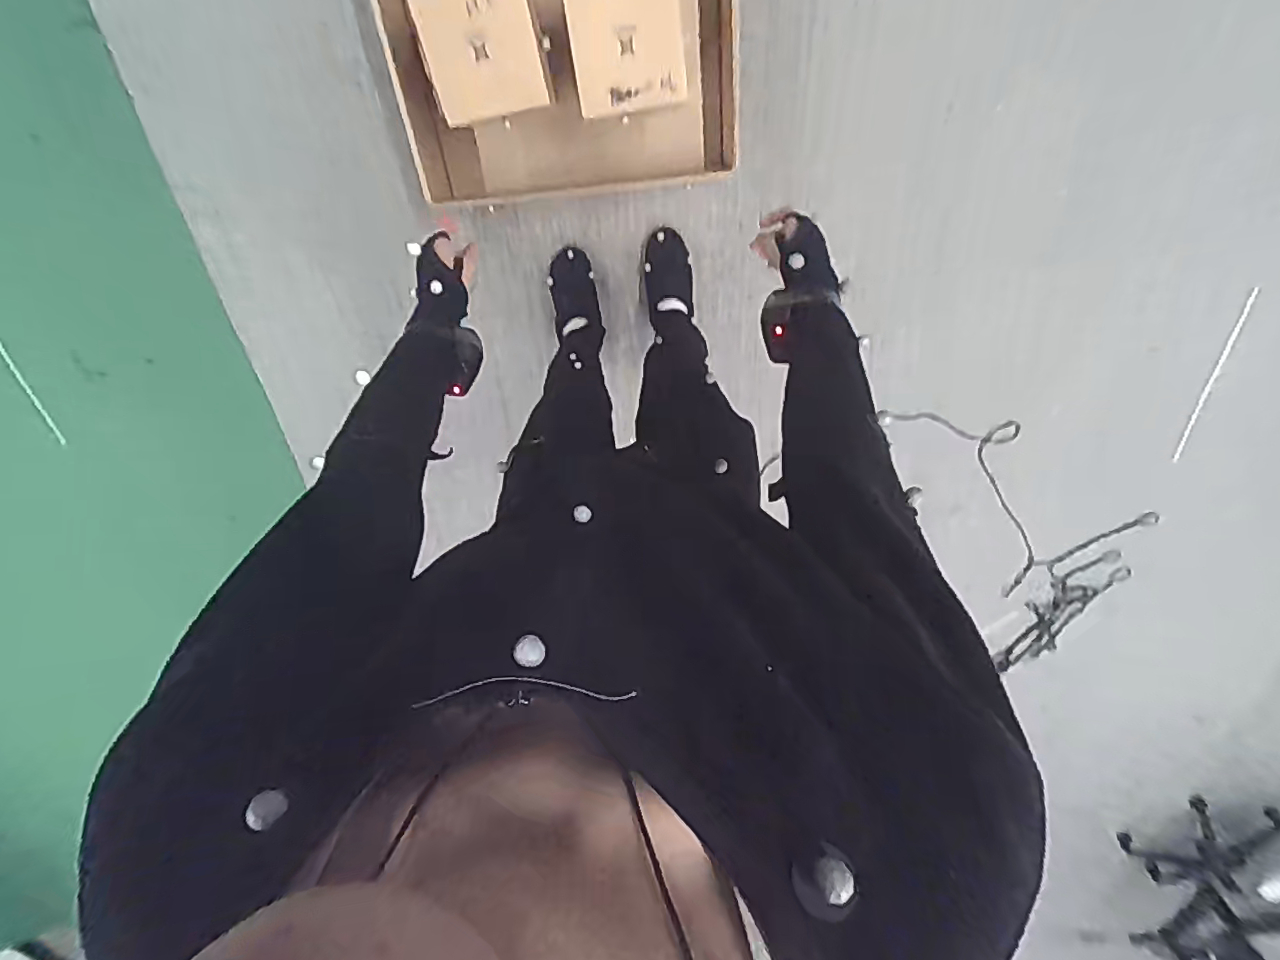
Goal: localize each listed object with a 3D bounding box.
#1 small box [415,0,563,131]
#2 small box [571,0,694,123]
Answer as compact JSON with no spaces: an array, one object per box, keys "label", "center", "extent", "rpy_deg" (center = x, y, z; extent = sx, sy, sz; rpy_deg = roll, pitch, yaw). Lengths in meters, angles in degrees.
[{"label":"small box","center":[-0.227,-0.675,0.861],"extent":[0.168,0.176,0.179],"rpy_deg":[-10,122,4]},{"label":"small box","center":[-0.007,-0.679,0.848],"extent":[0.168,0.176,0.179],"rpy_deg":[-6,121,7]}]
